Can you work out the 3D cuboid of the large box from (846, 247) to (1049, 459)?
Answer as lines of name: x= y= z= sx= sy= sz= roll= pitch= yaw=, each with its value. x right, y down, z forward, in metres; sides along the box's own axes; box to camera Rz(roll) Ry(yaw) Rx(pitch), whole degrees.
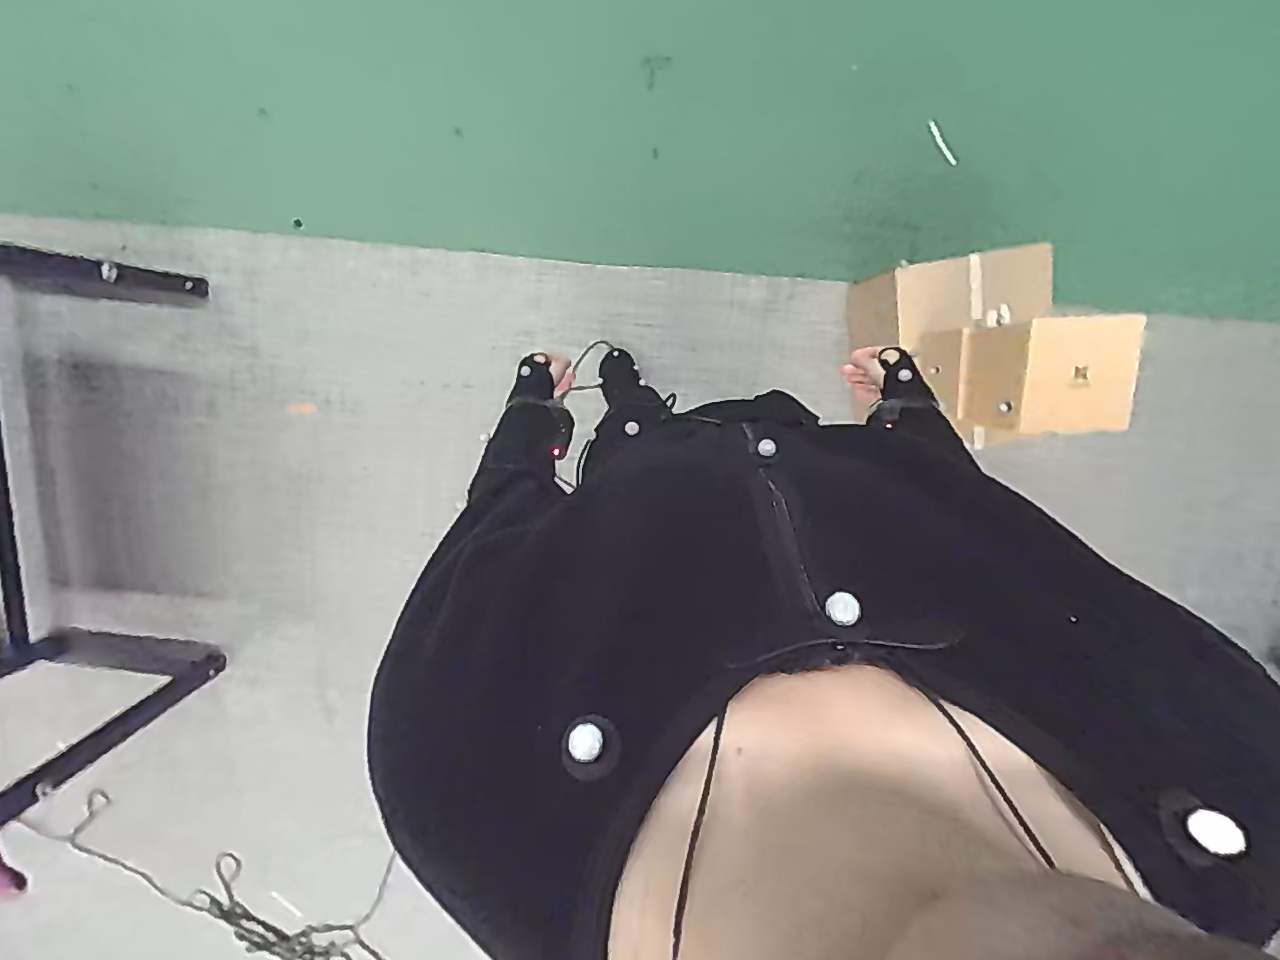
large box: x=0.707 y=-0.285 z=1.284 sx=0.320 sy=0.320 sz=0.408 roll=-8 pitch=100 yaw=3

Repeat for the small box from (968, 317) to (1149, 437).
small box: x=0.672 y=-0.169 z=0.892 sx=0.168 sy=0.176 sz=0.179 roll=-1 pitch=102 yaw=3

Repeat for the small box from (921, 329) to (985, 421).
small box: x=0.671 y=-0.206 z=1.050 sx=0.179 sy=0.176 sz=0.168 roll=-2 pitch=102 yaw=3
